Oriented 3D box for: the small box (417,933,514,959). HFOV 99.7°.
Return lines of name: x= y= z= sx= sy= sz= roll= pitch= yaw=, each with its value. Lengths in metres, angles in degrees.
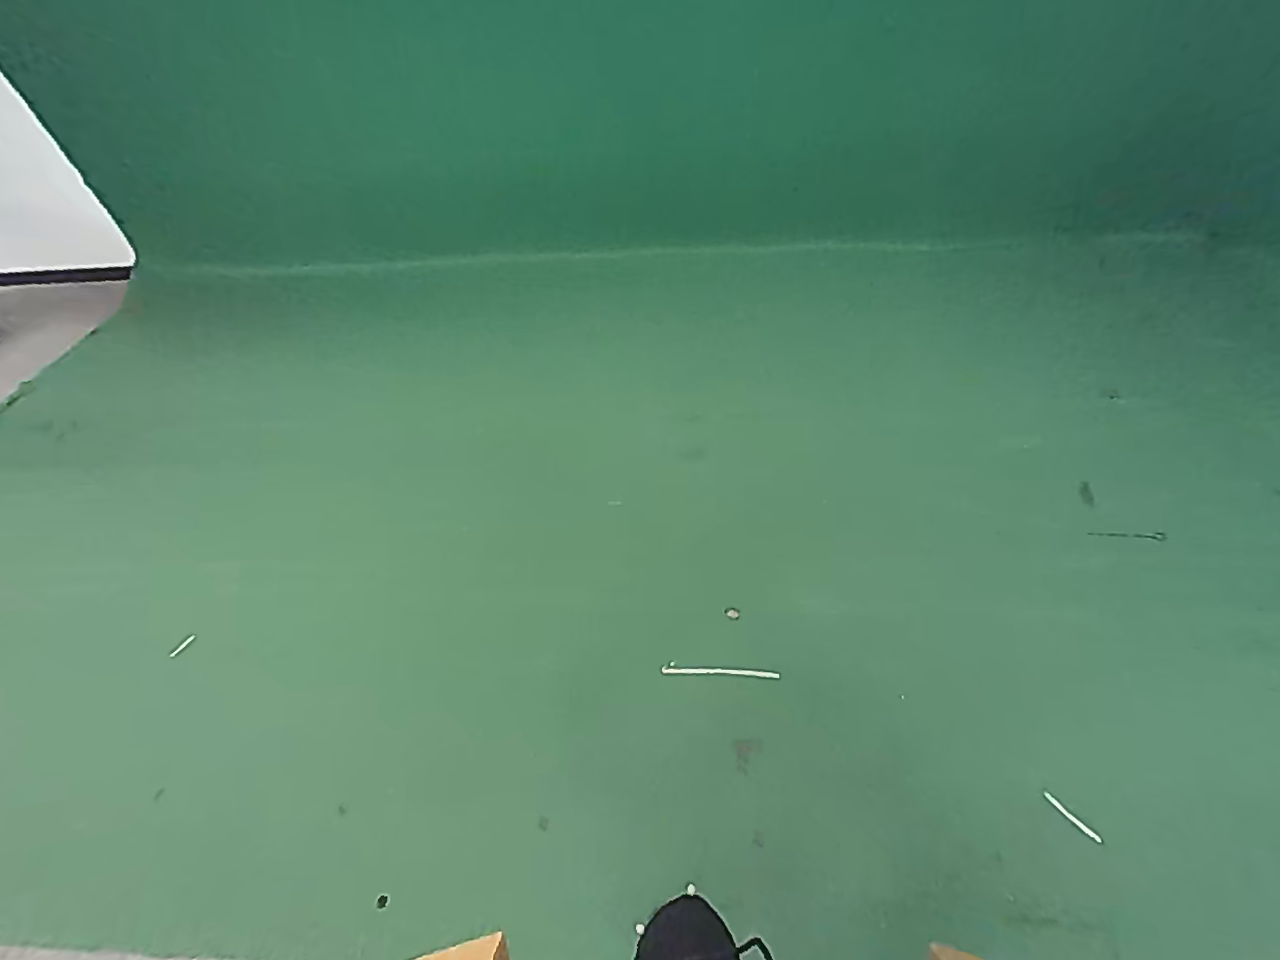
small box: x=-0.233 y=0.682 z=0.615 sx=0.168 sy=0.179 sz=0.176 roll=-16 pitch=79 yaw=-2
